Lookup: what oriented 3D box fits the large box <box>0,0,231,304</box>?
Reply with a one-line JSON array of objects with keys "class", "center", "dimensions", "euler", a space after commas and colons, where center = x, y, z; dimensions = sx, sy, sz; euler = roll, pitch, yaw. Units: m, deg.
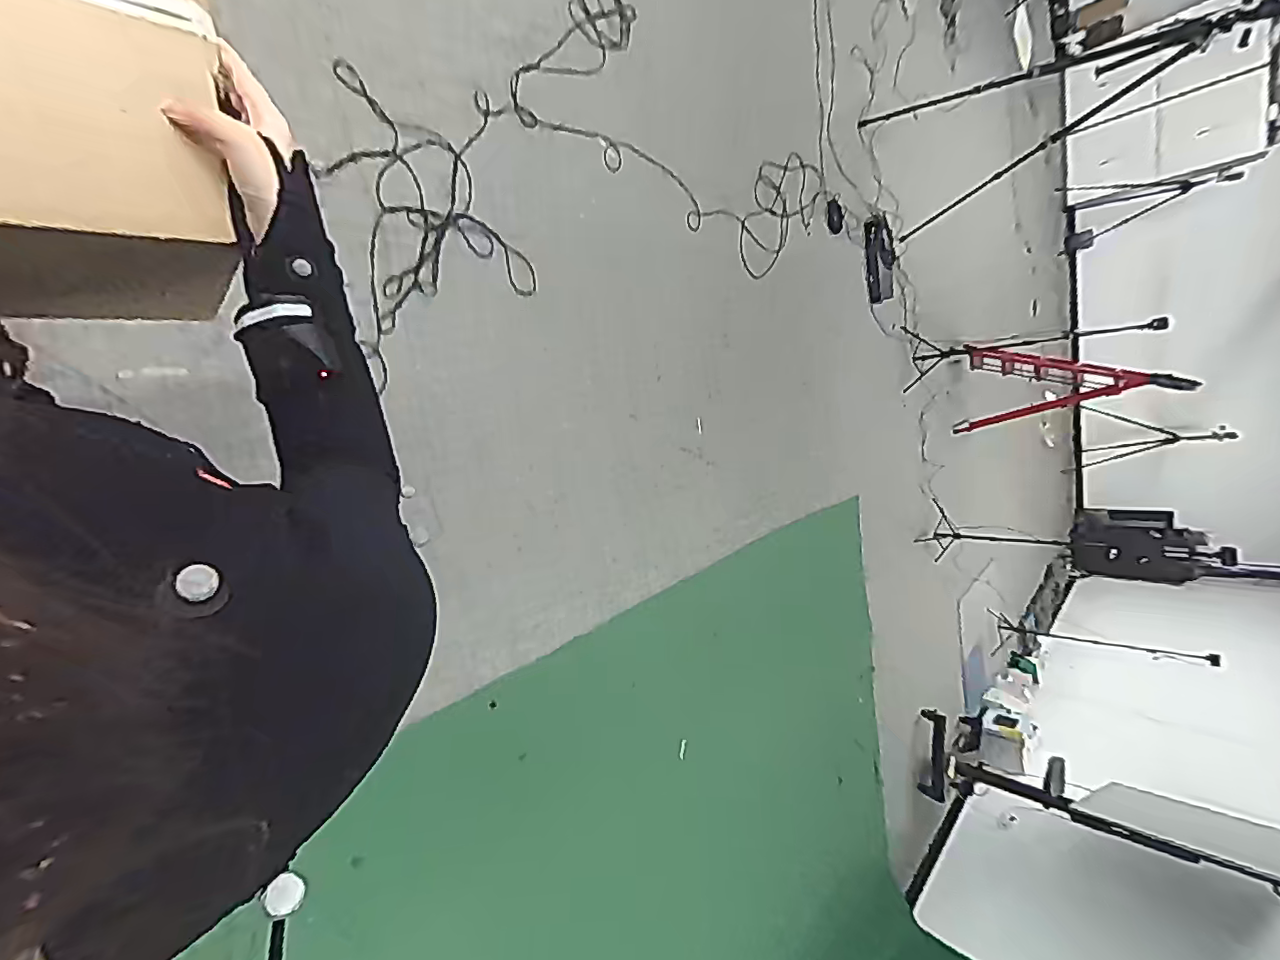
[{"class": "large box", "center": [-0.585, -0.313, 0.391], "dimensions": [0.408, 0.320, 0.320], "euler": [-14, 100, -40]}]
